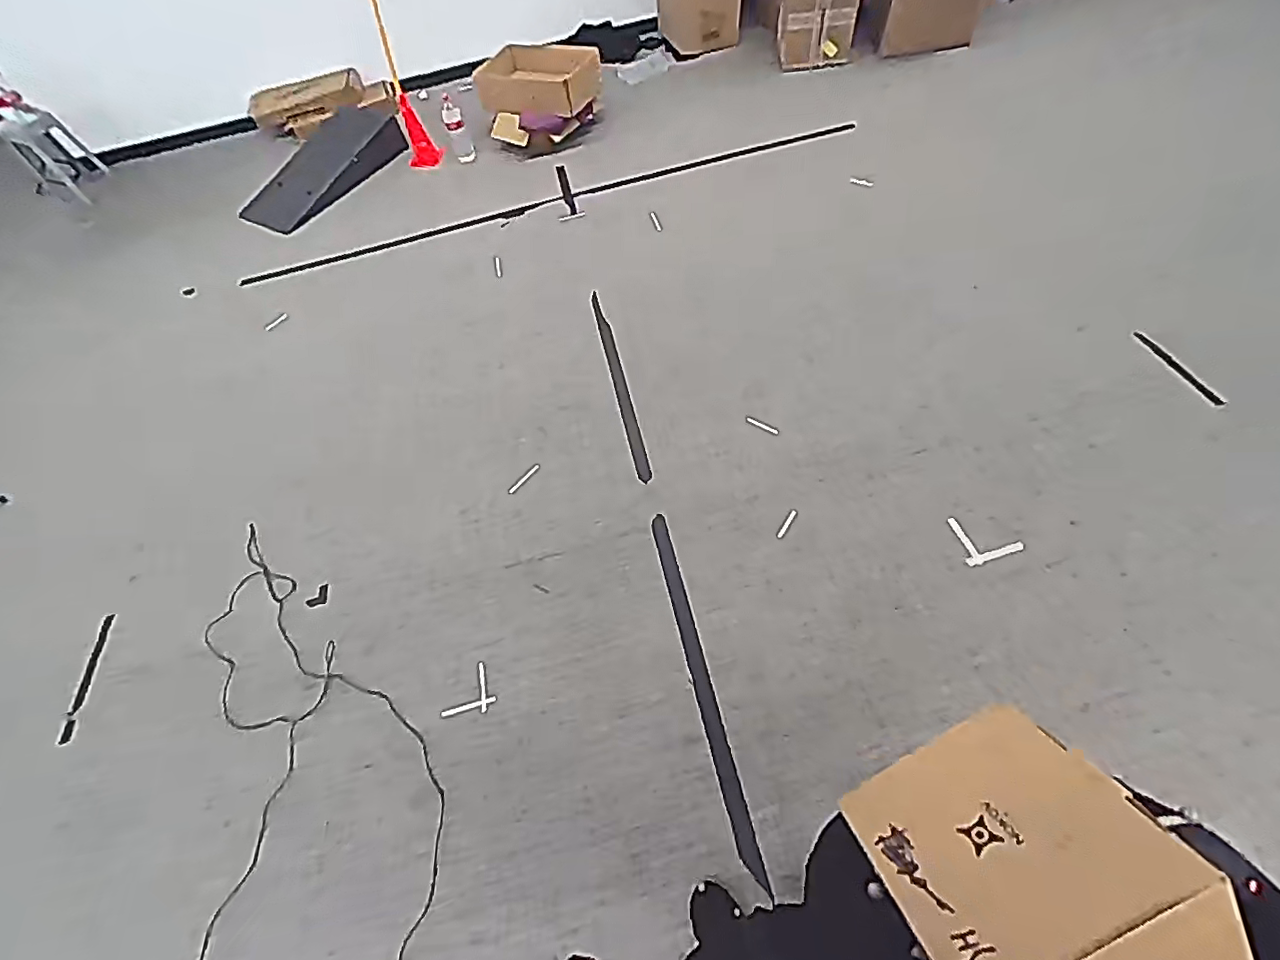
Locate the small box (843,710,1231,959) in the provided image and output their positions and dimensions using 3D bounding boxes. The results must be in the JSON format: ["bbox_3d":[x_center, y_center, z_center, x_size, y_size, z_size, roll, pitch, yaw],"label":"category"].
[{"bbox_3d":[0.302,0.332,0.425,0.179,0.176,0.168,-30,15,0],"label":"small box"}]
